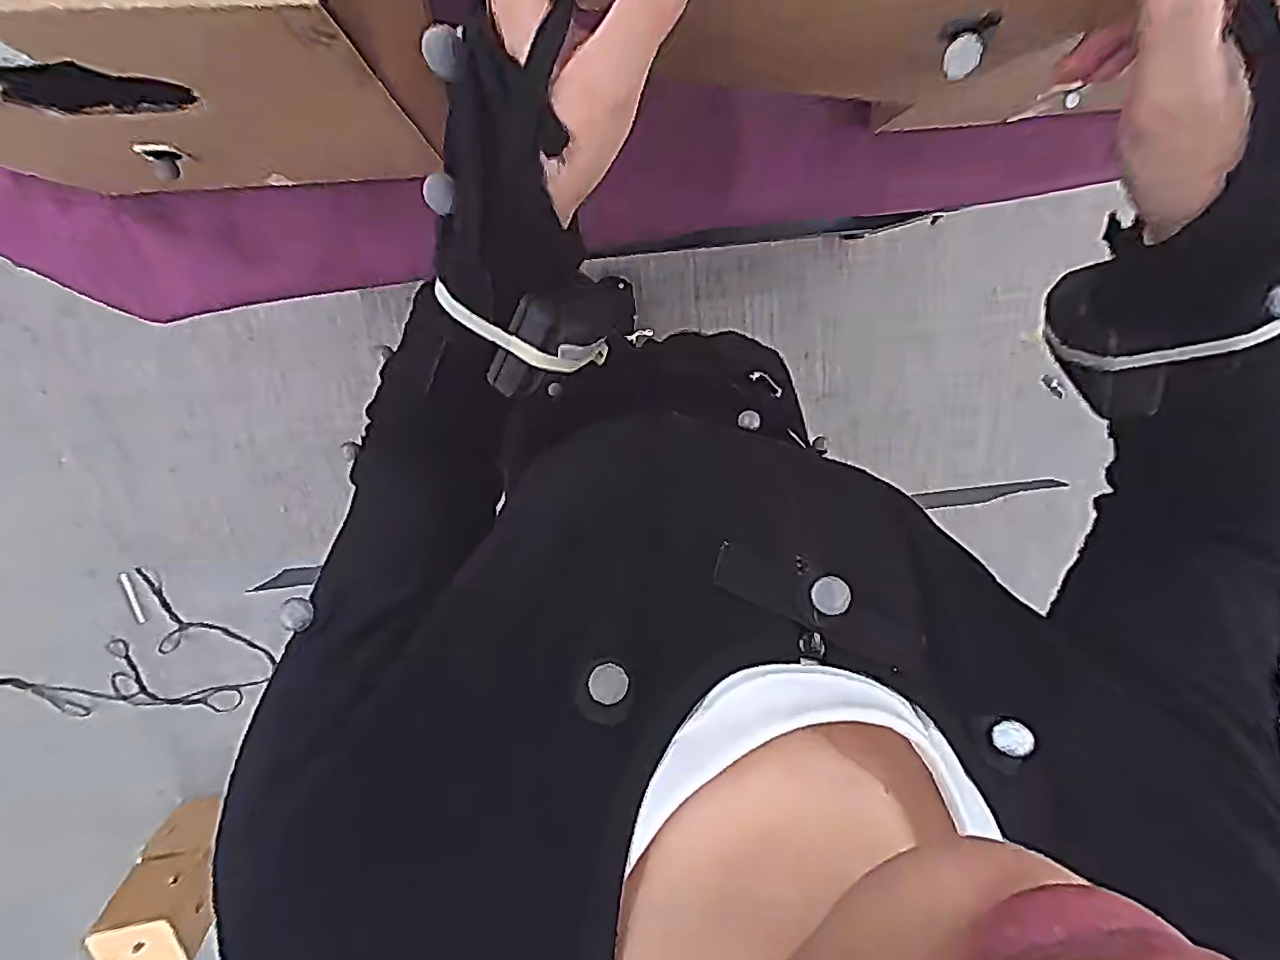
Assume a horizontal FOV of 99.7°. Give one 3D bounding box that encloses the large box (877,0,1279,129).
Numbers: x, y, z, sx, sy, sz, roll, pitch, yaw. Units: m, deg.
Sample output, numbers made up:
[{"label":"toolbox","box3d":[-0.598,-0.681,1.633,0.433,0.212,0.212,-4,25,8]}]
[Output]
[{"label":"large box","box3d":[0.372,-0.516,0.347,0.320,0.320,0.408,-8,106,-5]}]
